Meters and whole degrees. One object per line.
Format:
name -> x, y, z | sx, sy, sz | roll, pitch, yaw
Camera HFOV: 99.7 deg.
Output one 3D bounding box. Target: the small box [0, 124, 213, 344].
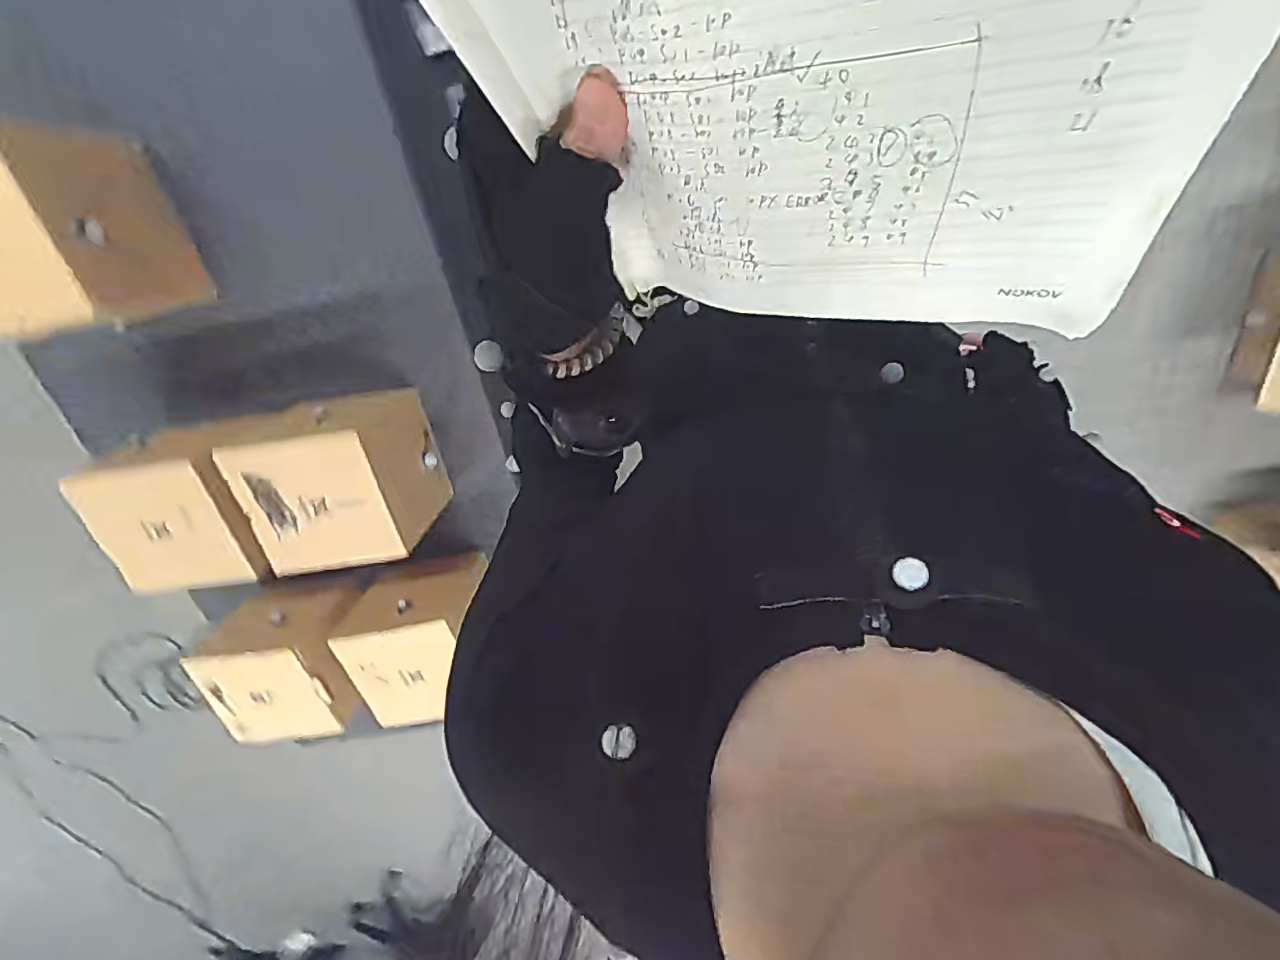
small box -> -0.633, -0.259, 0.587 | 0.168, 0.176, 0.179 | -10, 116, 7
